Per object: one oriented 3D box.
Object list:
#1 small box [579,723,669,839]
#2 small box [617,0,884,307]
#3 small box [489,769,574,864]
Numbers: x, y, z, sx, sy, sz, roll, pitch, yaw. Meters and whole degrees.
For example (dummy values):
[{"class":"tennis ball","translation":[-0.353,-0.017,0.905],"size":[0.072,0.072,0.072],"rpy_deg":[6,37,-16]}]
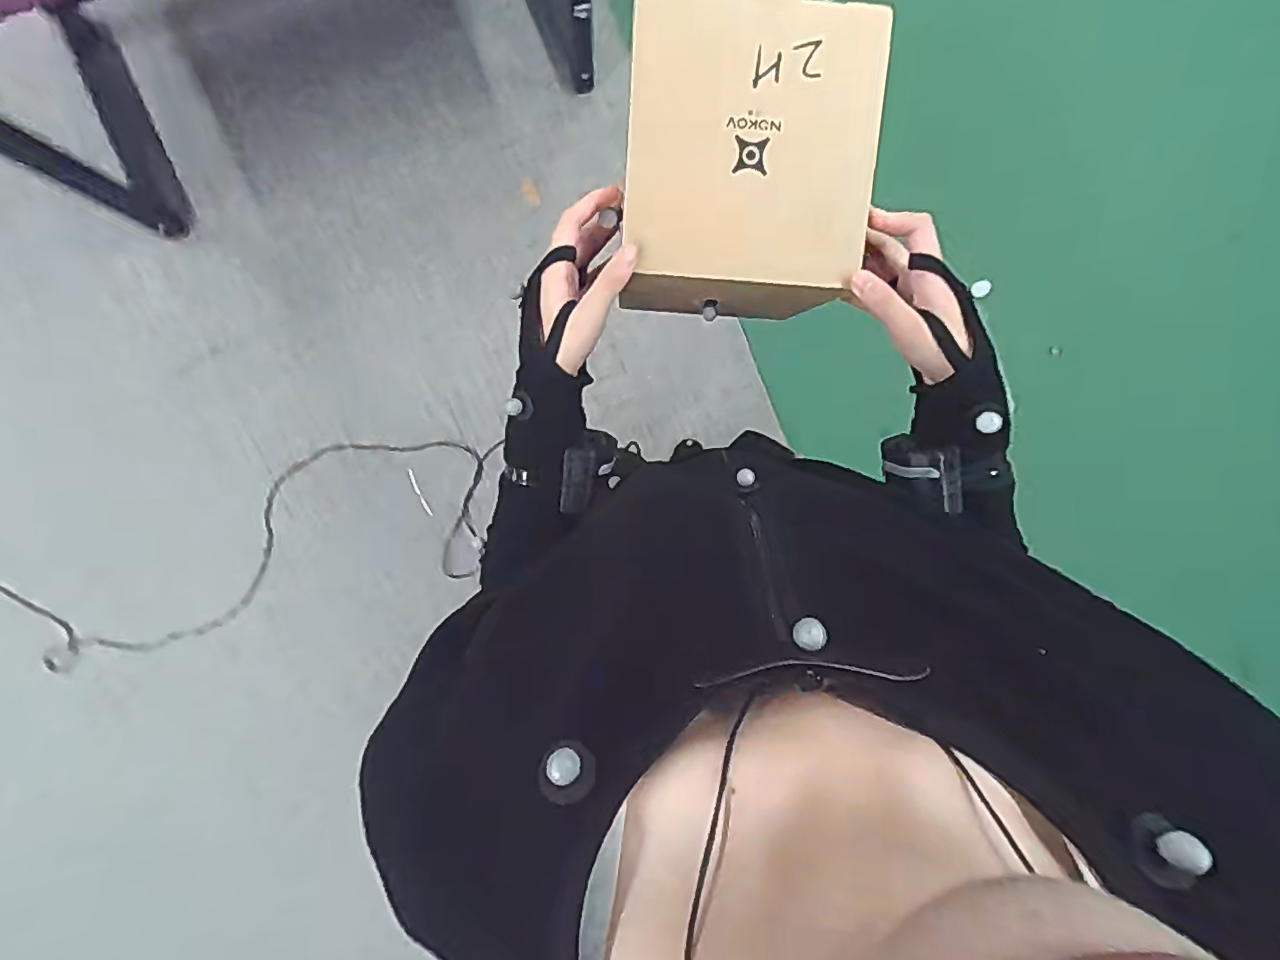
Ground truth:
[{"class":"small box","translation":[-0.043,0.772,1.408],"size":[0.179,0.176,0.168],"rpy_deg":[-28,92,0]},{"class":"small box","translation":[0.068,-0.240,0.434],"size":[0.168,0.176,0.179],"rpy_deg":[2,100,-2]},{"class":"small box","translation":[-0.284,0.895,1.401],"size":[0.179,0.176,0.168],"rpy_deg":[-30,93,-2]}]
